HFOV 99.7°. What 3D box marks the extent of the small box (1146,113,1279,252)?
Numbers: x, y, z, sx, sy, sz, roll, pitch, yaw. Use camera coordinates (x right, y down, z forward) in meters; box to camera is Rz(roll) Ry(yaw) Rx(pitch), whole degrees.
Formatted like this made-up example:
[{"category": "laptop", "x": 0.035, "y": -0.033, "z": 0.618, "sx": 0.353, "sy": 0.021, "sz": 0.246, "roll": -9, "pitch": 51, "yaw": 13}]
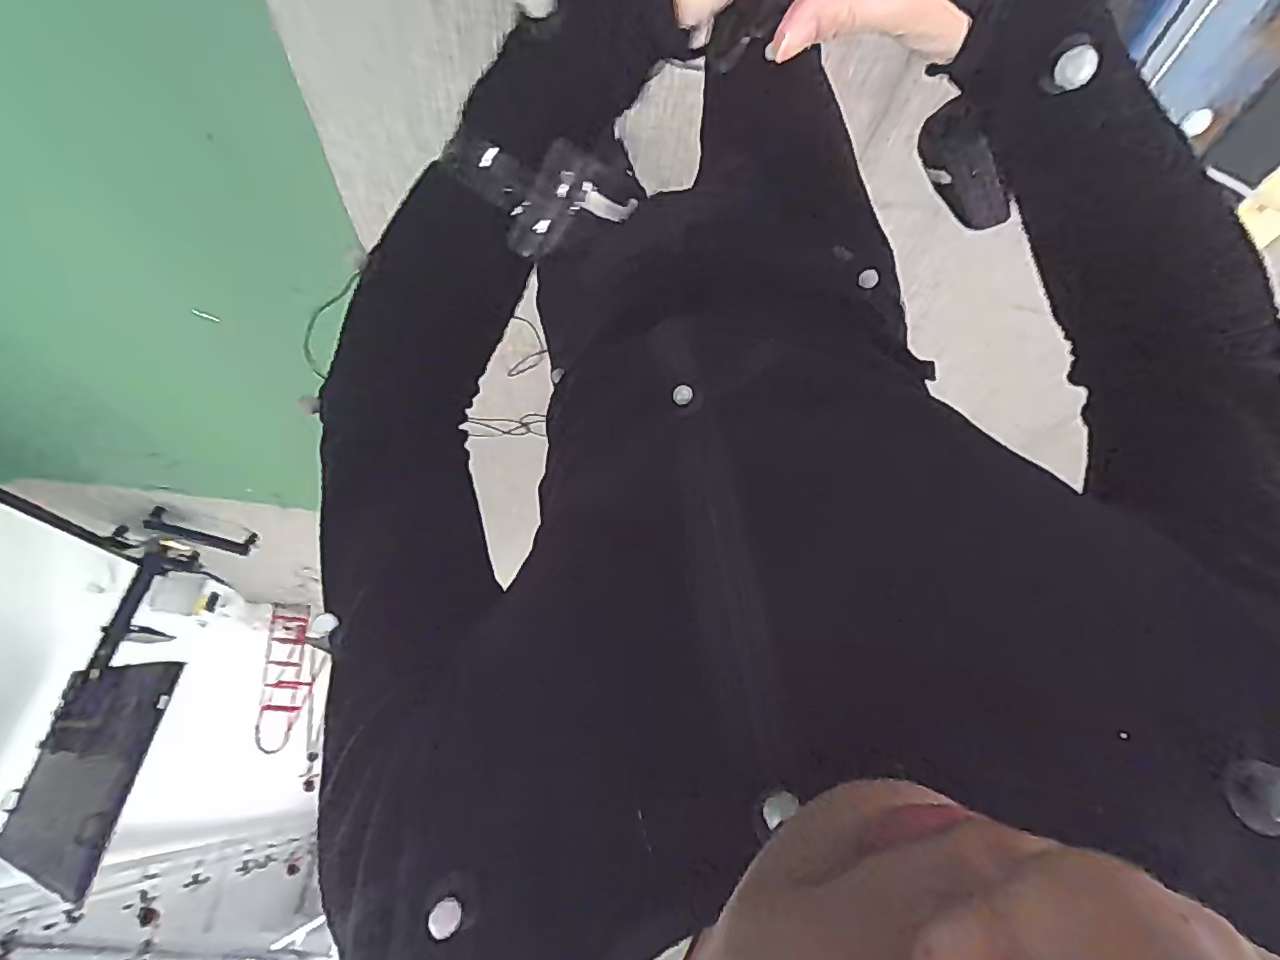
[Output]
[{"category": "small box", "x": 1.143, "y": -0.567, "z": 1.032, "sx": 0.179, "sy": 0.176, "sz": 0.168, "roll": 6, "pitch": 151, "yaw": 0}]
